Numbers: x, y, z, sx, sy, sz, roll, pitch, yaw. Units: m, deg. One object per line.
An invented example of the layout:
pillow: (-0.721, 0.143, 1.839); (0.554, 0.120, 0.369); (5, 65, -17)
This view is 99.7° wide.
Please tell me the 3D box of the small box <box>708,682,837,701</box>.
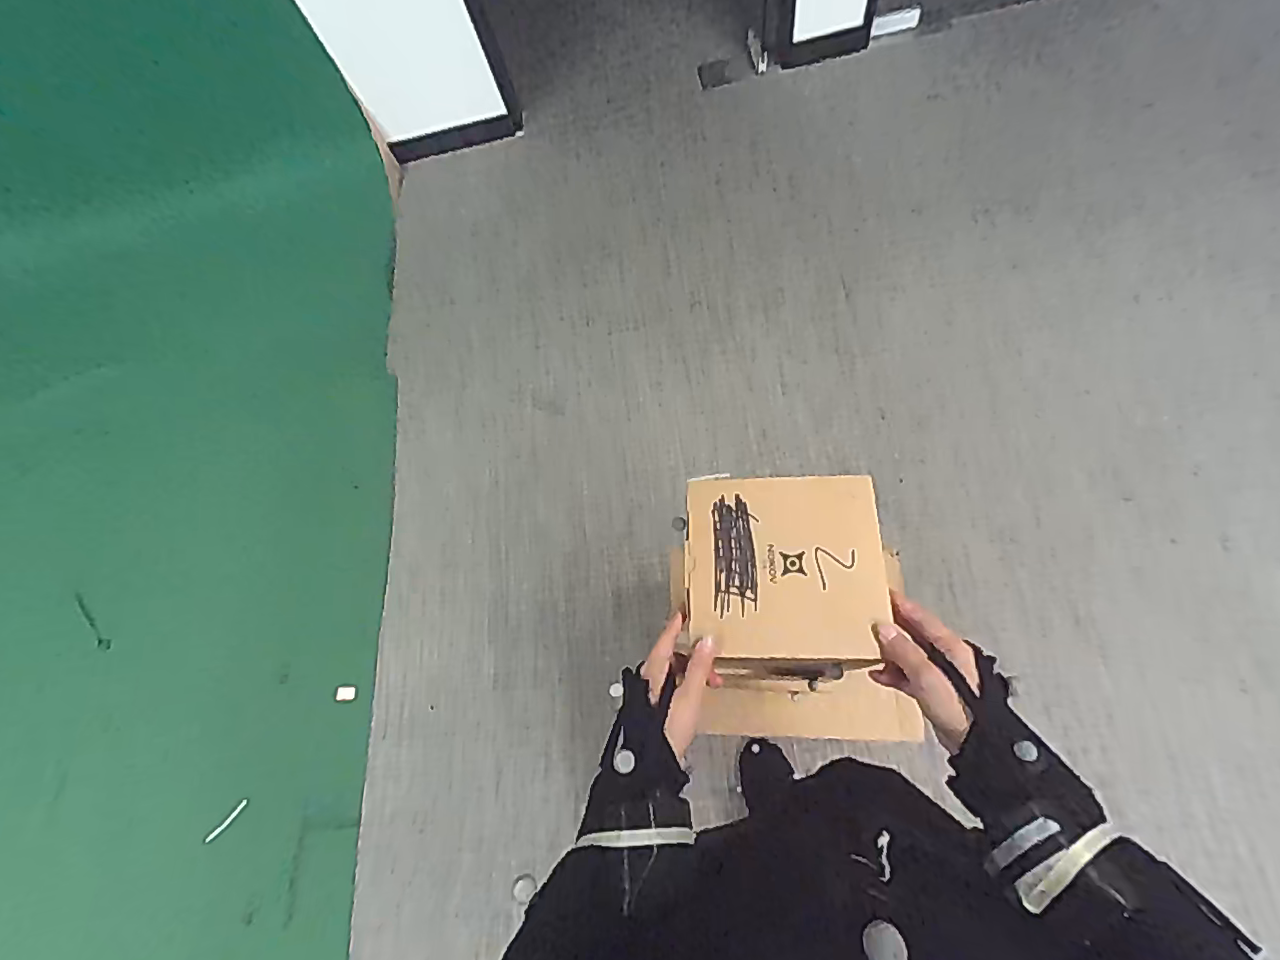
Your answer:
small box: (0.197, 0.253, 0.844); (0.179, 0.176, 0.168); (-2, 67, 10)

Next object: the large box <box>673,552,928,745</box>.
large box: (0.277, 0.335, 1.061); (0.408, 0.320, 0.320); (-2, 69, 8)

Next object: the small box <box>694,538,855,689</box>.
small box: (0.164, 0.179, 0.702); (0.179, 0.176, 0.168); (-2, 67, 8)
